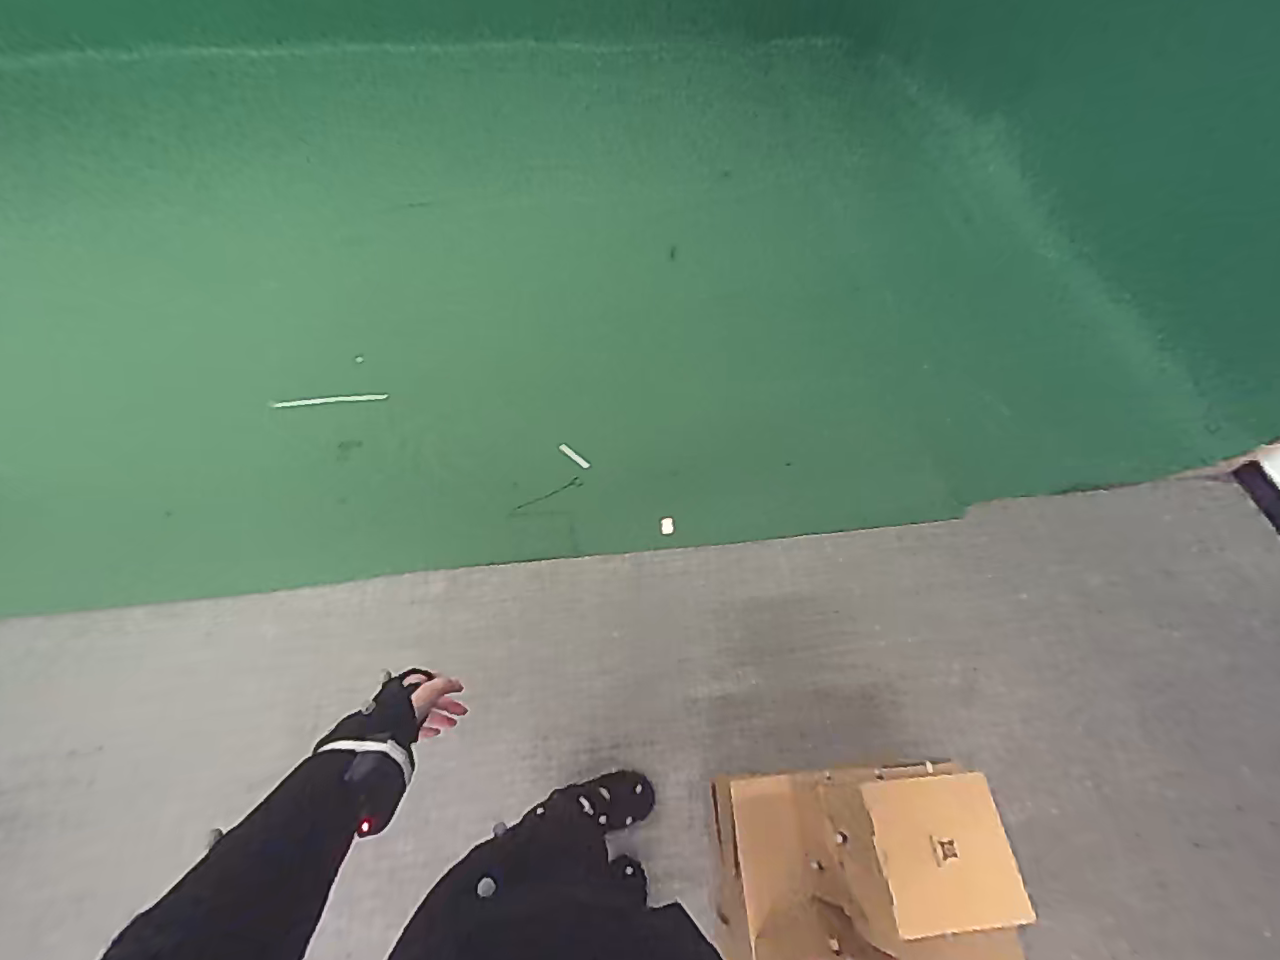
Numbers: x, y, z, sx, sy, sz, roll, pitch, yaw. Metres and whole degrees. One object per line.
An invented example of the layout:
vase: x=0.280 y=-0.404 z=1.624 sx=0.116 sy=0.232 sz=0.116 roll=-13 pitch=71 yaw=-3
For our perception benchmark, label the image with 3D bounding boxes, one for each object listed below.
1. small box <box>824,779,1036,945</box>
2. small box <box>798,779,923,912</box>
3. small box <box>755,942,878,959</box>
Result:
small box: x=0.383 y=0.514 z=0.751 sx=0.179 sy=0.176 sz=0.168 roll=-3 pitch=59 yaw=-4
small box: x=0.373 y=0.595 z=0.891 sx=0.179 sy=0.176 sz=0.168 roll=-1 pitch=59 yaw=-5
small box: x=0.278 y=0.785 z=0.770 sx=0.179 sy=0.176 sz=0.168 roll=0 pitch=59 yaw=-4
